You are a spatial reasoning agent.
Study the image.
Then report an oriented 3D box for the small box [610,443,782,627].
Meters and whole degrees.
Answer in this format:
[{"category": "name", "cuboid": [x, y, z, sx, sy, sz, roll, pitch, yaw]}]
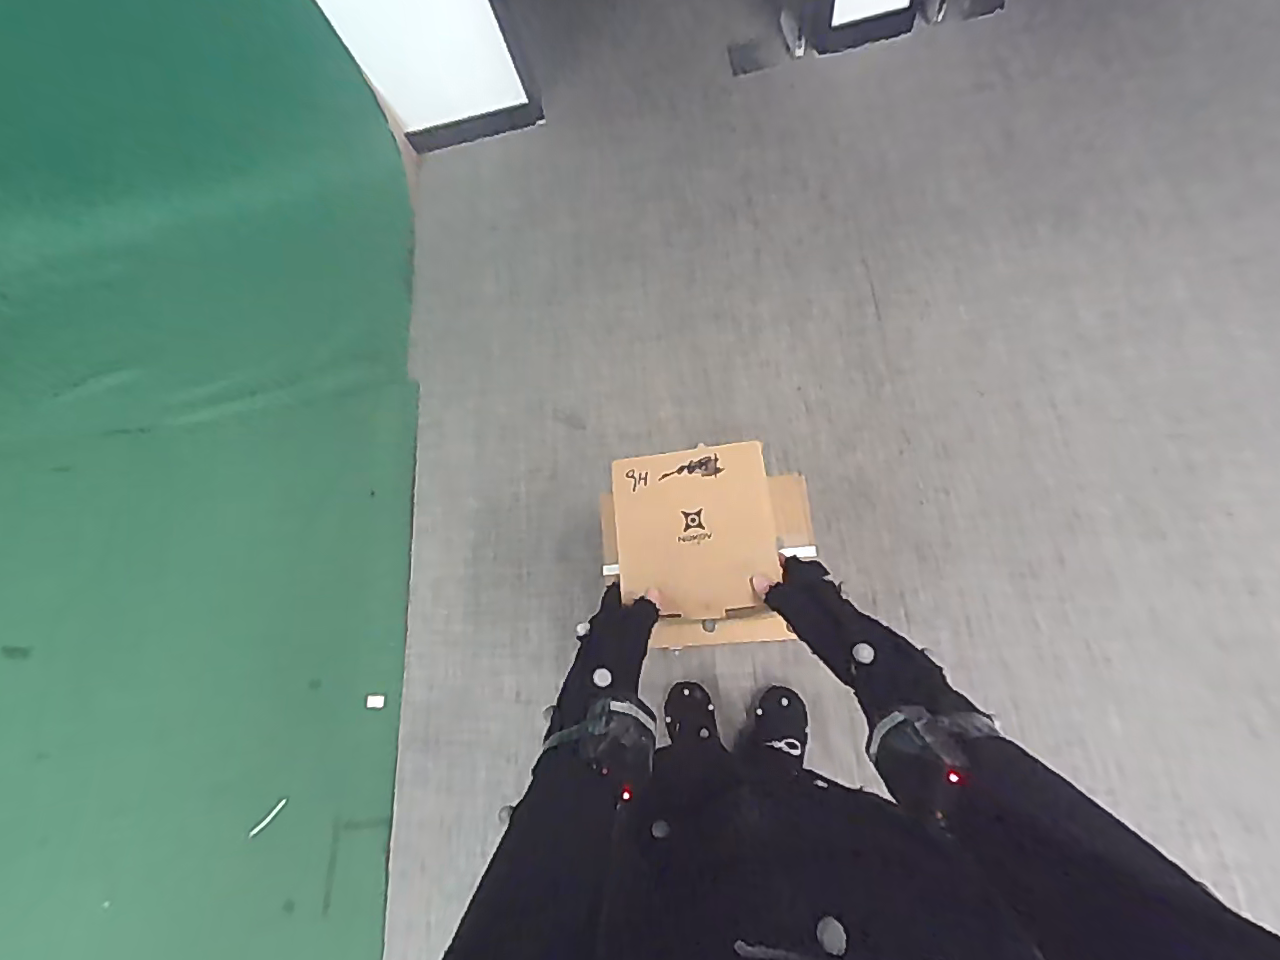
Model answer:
[{"category": "small box", "cuboid": [0.071, 0.073, 0.640, 0.168, 0.176, 0.179, -9, 75, 10]}]
